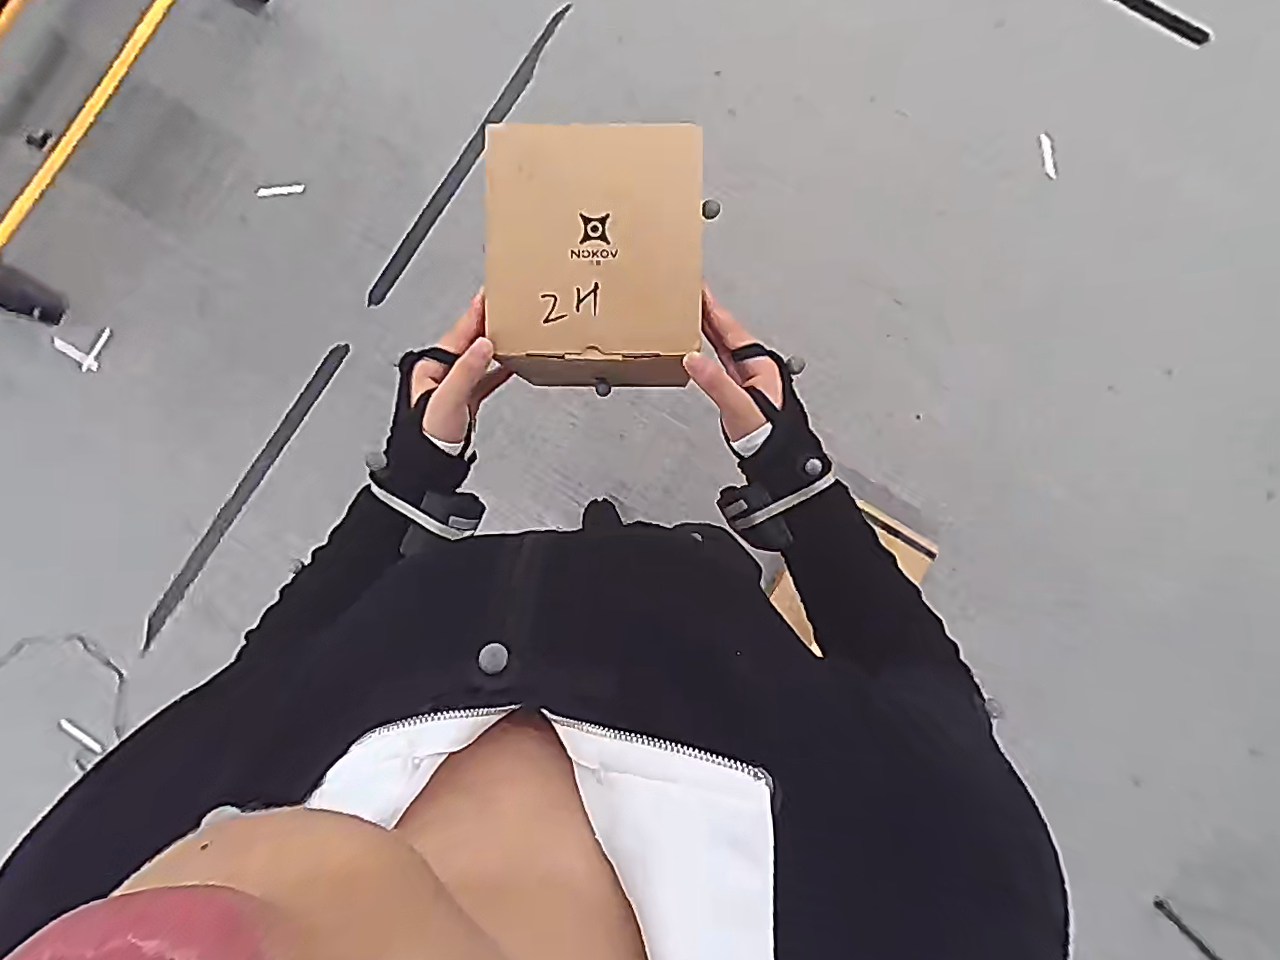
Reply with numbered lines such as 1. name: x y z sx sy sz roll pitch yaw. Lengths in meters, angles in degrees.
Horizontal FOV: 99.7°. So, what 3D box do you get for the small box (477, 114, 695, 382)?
1. small box: -0.041 -0.190 0.488 0.168 0.176 0.179 0 92 2
